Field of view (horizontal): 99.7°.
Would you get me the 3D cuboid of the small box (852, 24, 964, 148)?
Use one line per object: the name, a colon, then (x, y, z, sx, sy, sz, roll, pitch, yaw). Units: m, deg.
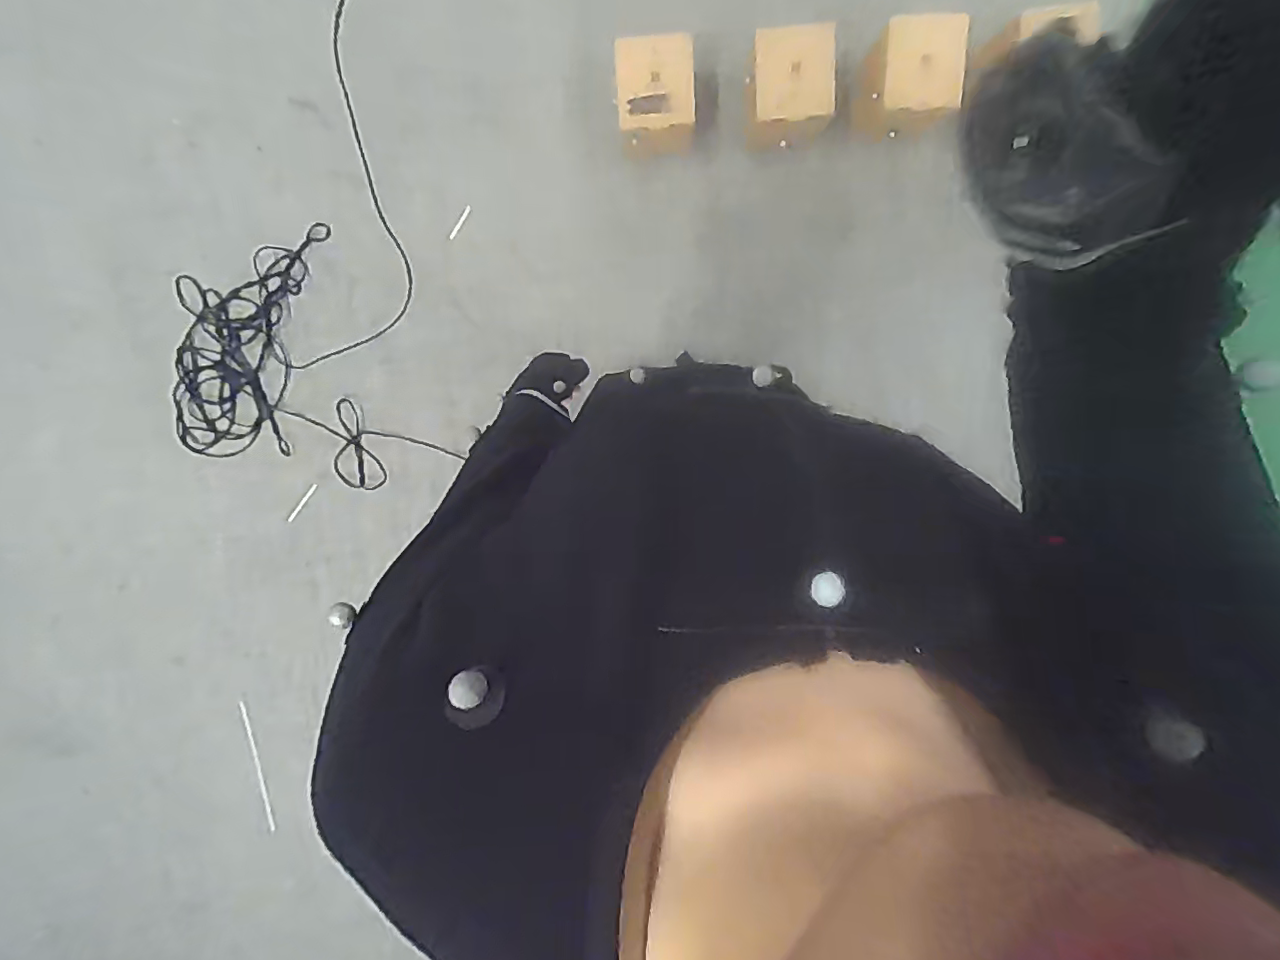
small box: (0.590, -0.872, 1.211, 0.168, 0.176, 0.179, -1, 102, 1)

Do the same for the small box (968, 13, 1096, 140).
small box: (0.859, -0.883, 1.203, 0.168, 0.176, 0.179, -4, 101, 2)

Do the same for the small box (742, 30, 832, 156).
small box: (0.322, -0.860, 1.216, 0.168, 0.176, 0.179, -3, 102, 3)
